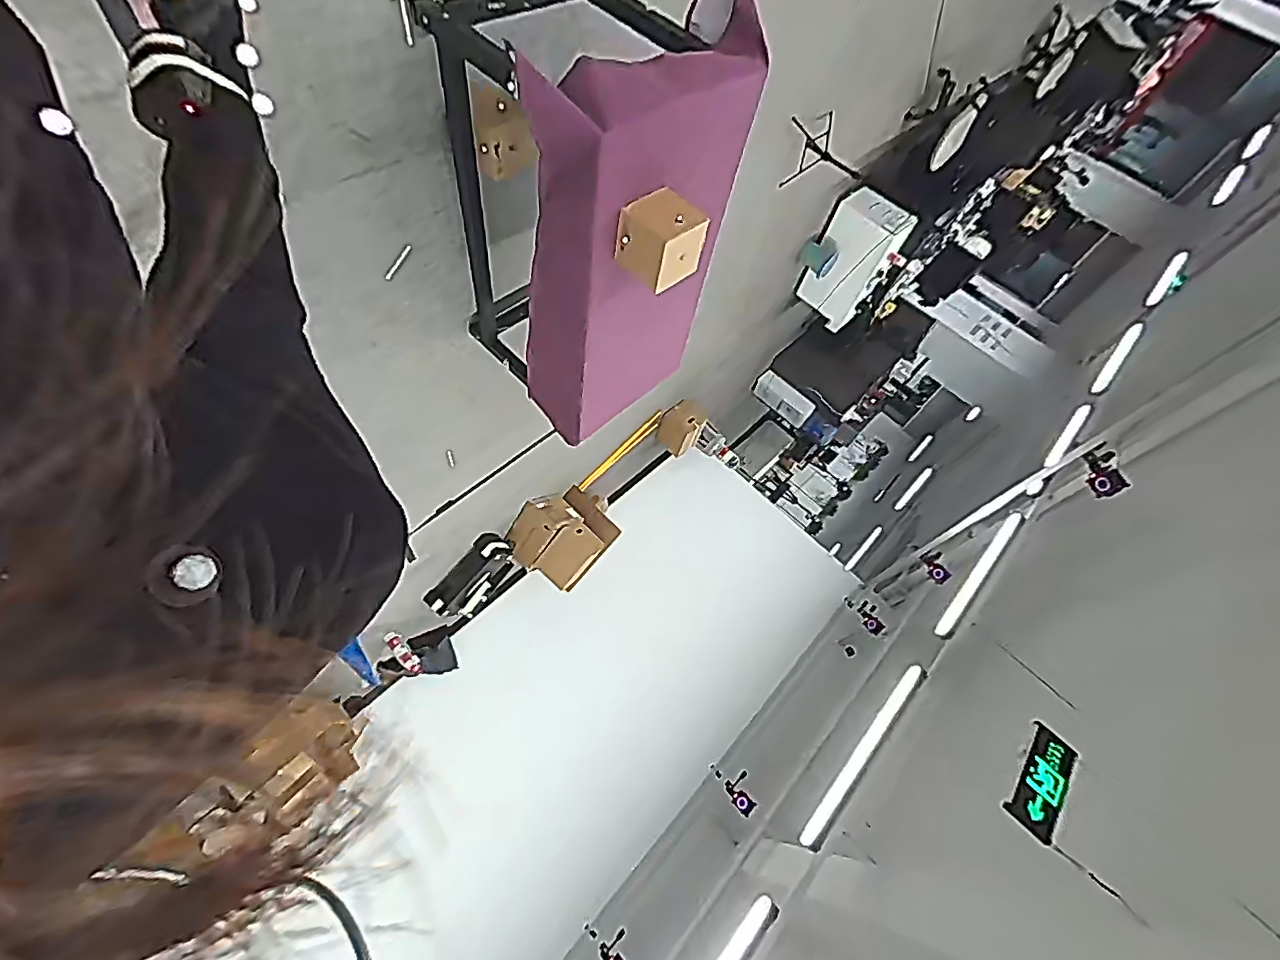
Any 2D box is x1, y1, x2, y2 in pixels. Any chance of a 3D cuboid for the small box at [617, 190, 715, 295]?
[{"bbox_3d":[0.065,-0.636,1.440,0.179,0.176,0.168,-39,163,-26],"label":"small box"}]
